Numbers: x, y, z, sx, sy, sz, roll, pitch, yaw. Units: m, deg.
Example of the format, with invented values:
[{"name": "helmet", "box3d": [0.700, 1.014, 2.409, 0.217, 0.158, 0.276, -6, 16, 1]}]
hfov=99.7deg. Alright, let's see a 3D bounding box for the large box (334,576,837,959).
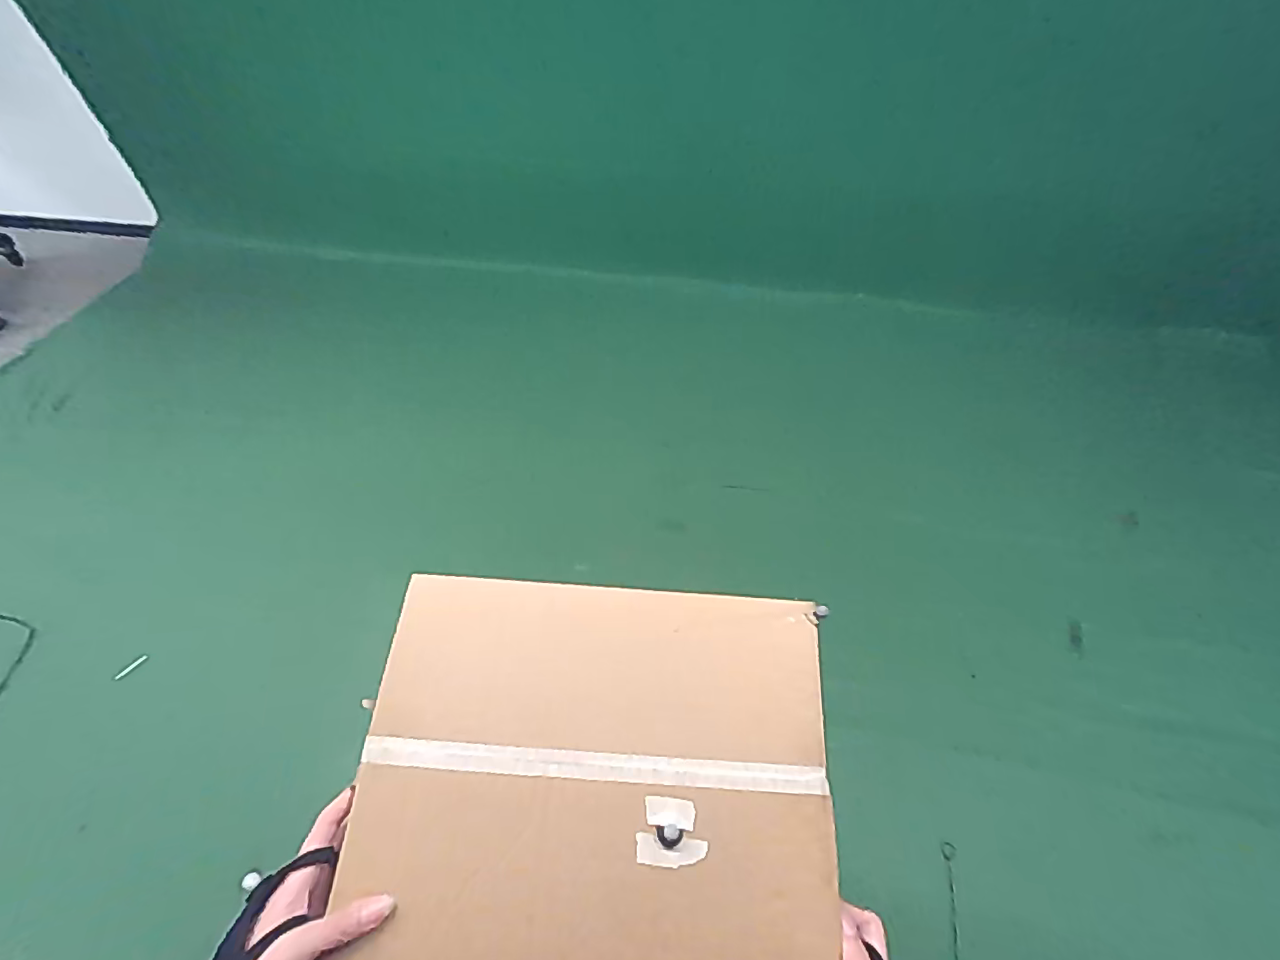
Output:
[{"name": "large box", "box3d": [-0.040, 0.313, 0.619, 0.408, 0.320, 0.320, 4, 65, 0]}]
